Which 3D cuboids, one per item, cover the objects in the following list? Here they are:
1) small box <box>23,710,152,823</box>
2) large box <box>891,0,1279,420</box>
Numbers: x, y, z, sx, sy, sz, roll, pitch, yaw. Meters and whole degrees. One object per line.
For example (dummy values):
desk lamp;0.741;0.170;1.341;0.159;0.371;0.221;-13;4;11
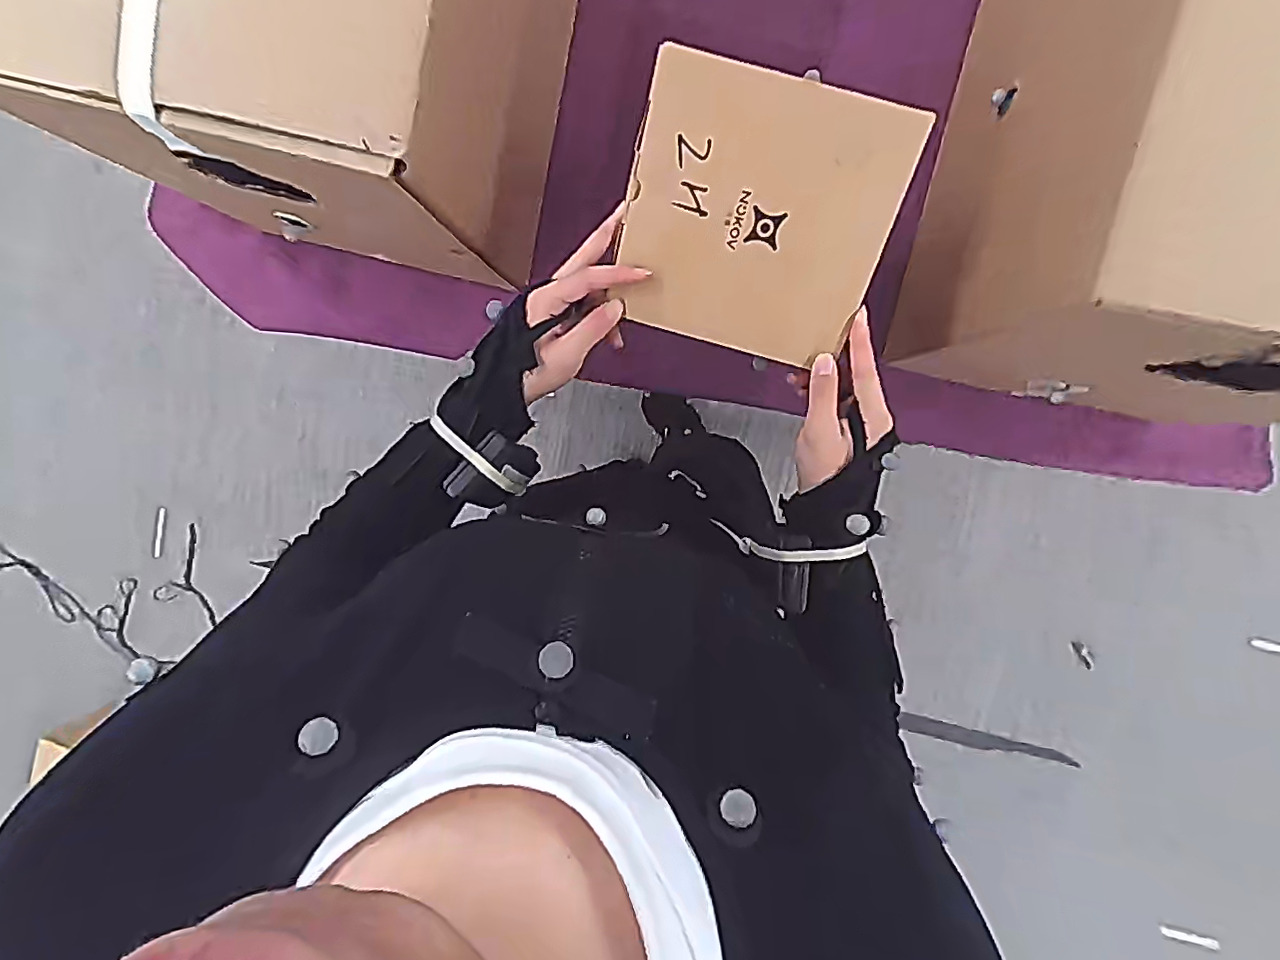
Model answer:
small box;-1.461;0.754;1.440;0.168;0.176;0.179;19;97;1
large box;0.445;-0.273;0.422;0.320;0.320;0.408;12;95;1
